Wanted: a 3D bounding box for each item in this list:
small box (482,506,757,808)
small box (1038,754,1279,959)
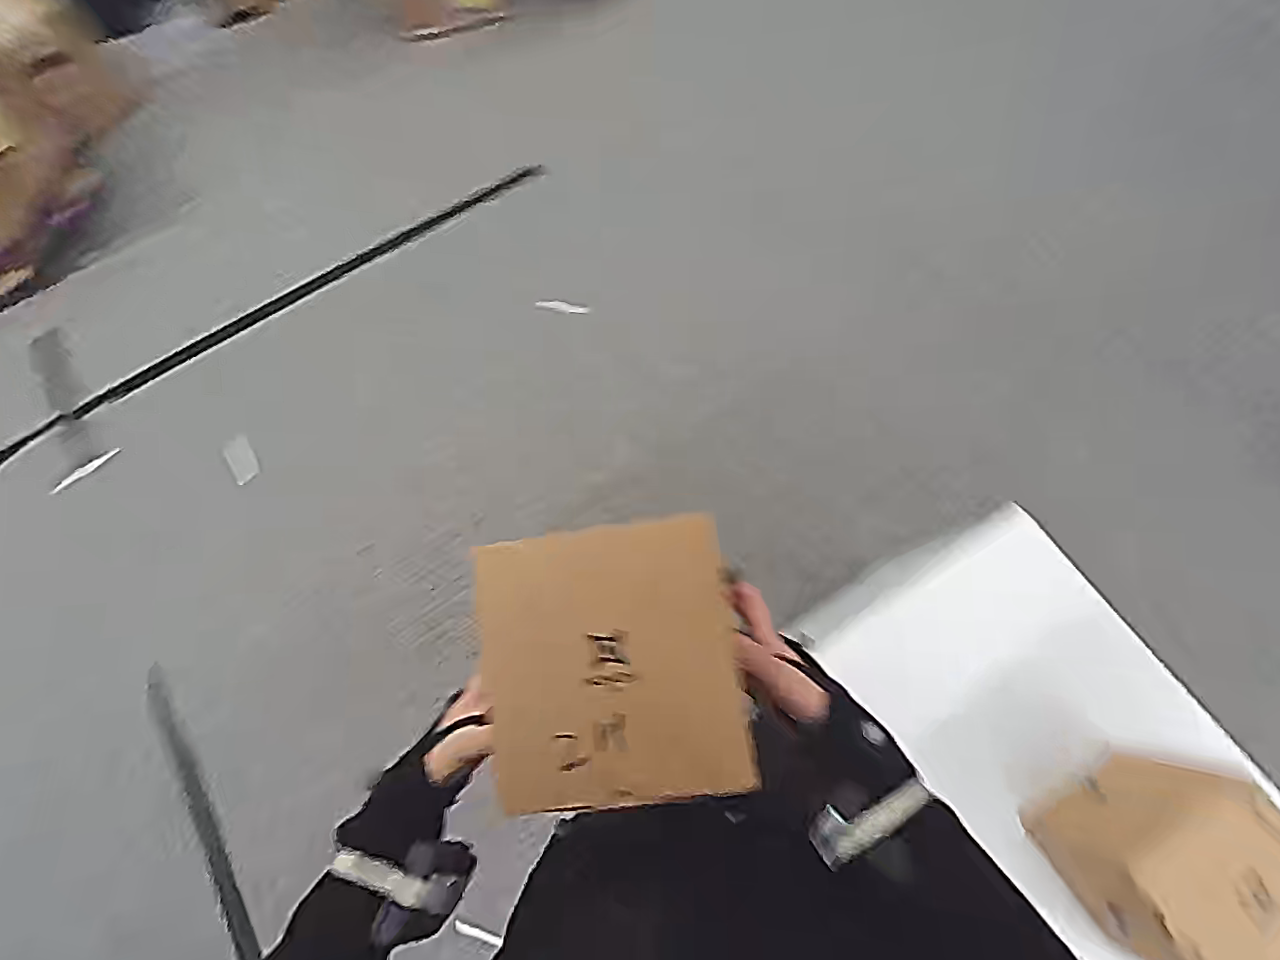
[{"bbox_3d":[-0.011,0.125,0.429,0.168,0.176,0.179,-9,81,5],"label":"small box"},{"bbox_3d":[0.594,0.435,0.599,0.179,0.176,0.168,-30,73,-6],"label":"small box"}]
